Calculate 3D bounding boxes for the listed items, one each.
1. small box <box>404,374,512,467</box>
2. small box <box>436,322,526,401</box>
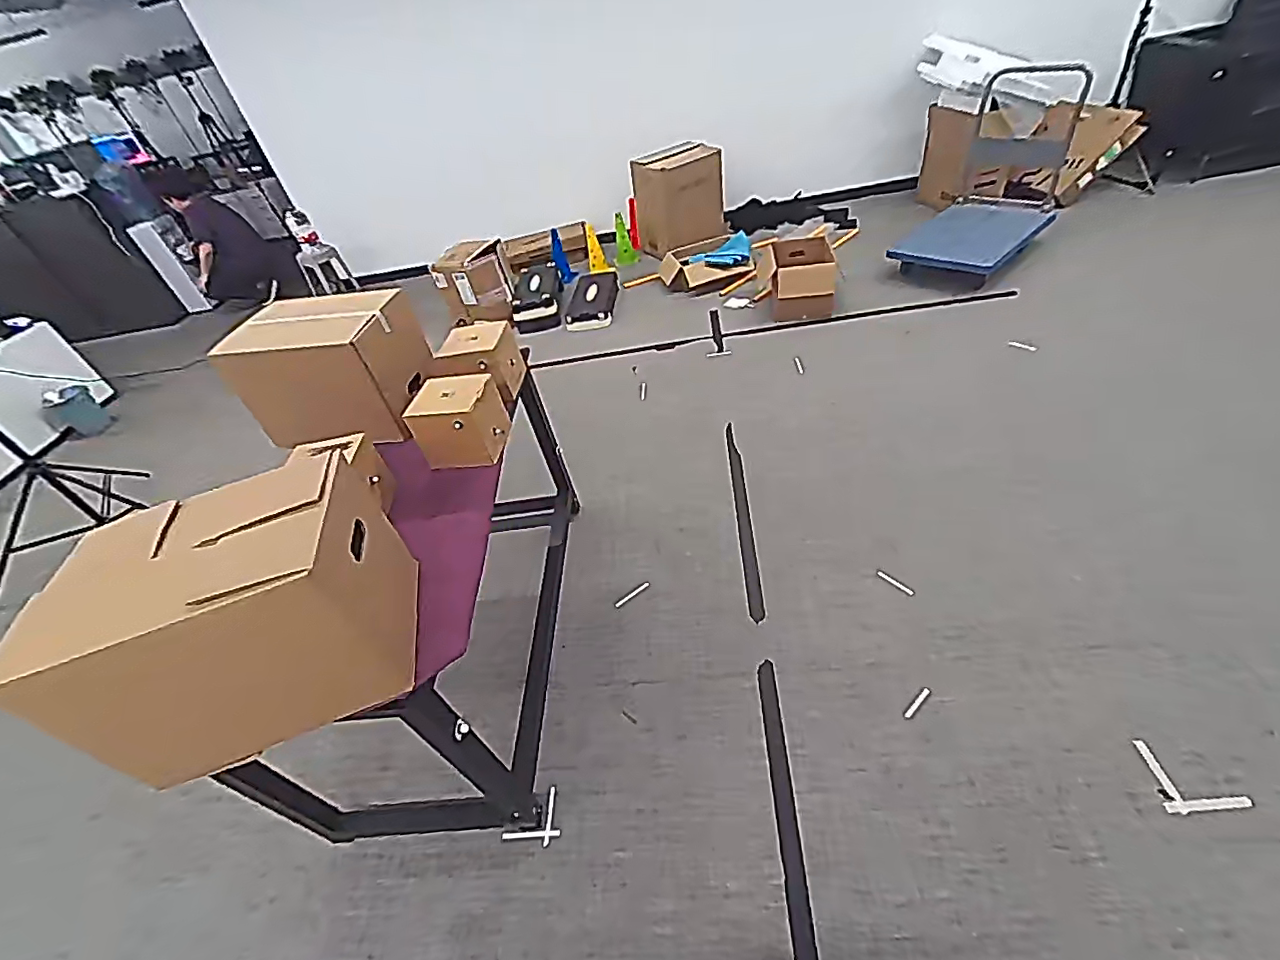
[{"bbox_3d":[-0.448,-0.145,1.360,0.179,0.176,0.168,-3,42,10],"label":"small box"},{"bbox_3d":[-0.448,-0.332,1.563,0.179,0.176,0.168,-6,42,11],"label":"small box"}]
